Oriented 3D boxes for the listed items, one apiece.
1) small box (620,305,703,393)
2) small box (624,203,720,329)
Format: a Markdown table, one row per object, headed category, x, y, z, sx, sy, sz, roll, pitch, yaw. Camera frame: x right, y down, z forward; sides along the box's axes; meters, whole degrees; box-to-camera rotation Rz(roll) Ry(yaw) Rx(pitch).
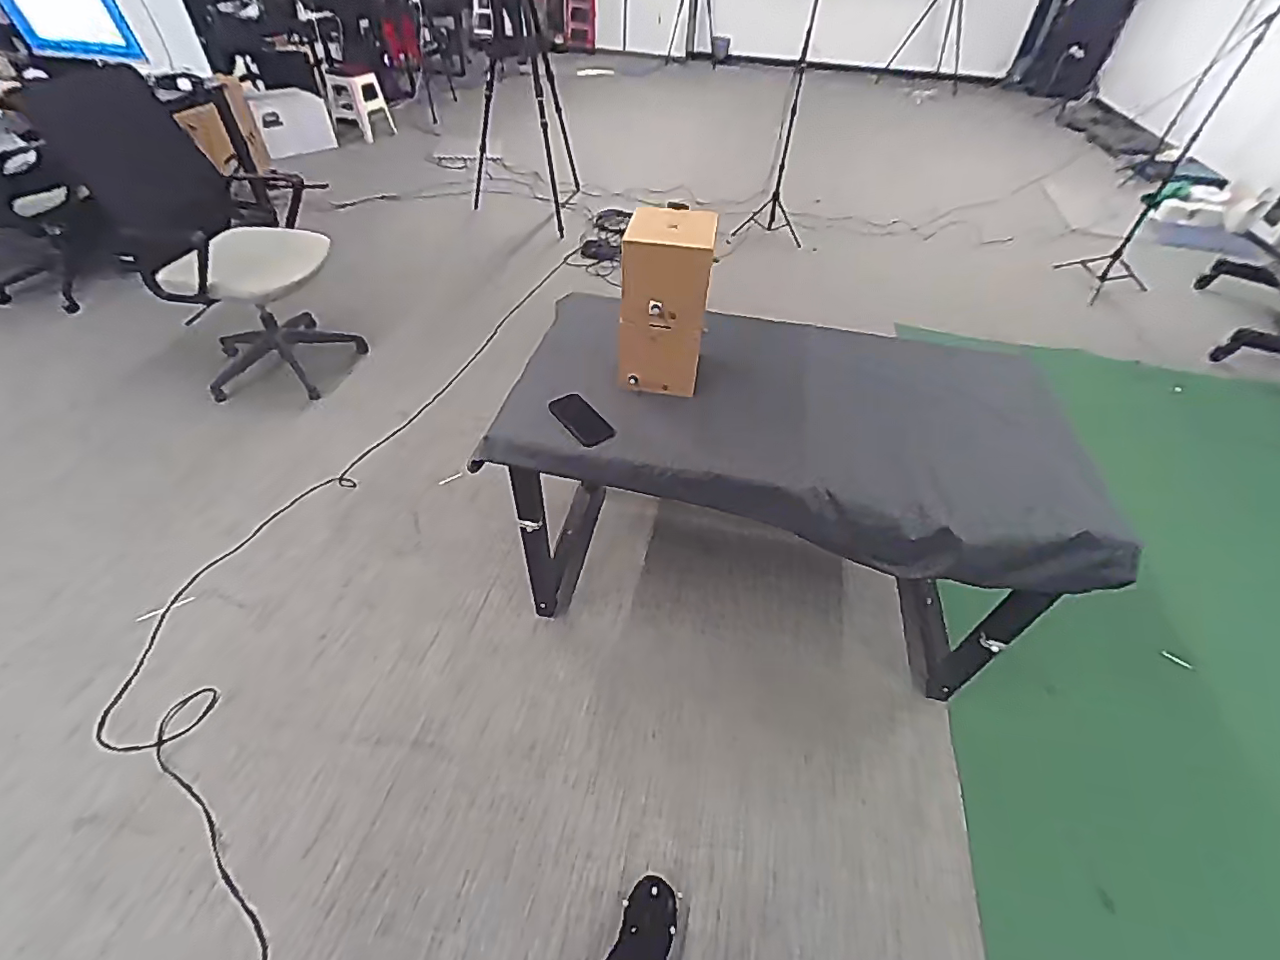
| category | x | y | z | sx | sy | sz | roll | pitch | yaw |
| --- | --- | --- | --- | --- | --- | --- | --- | --- | --- |
| small box | 0.051 | -0.314 | 1.193 | 0.168 | 0.176 | 0.179 | 9 | 46 | 4 |
| small box | 0.061 | -0.424 | 1.076 | 0.168 | 0.176 | 0.179 | 7 | 48 | 4 |
